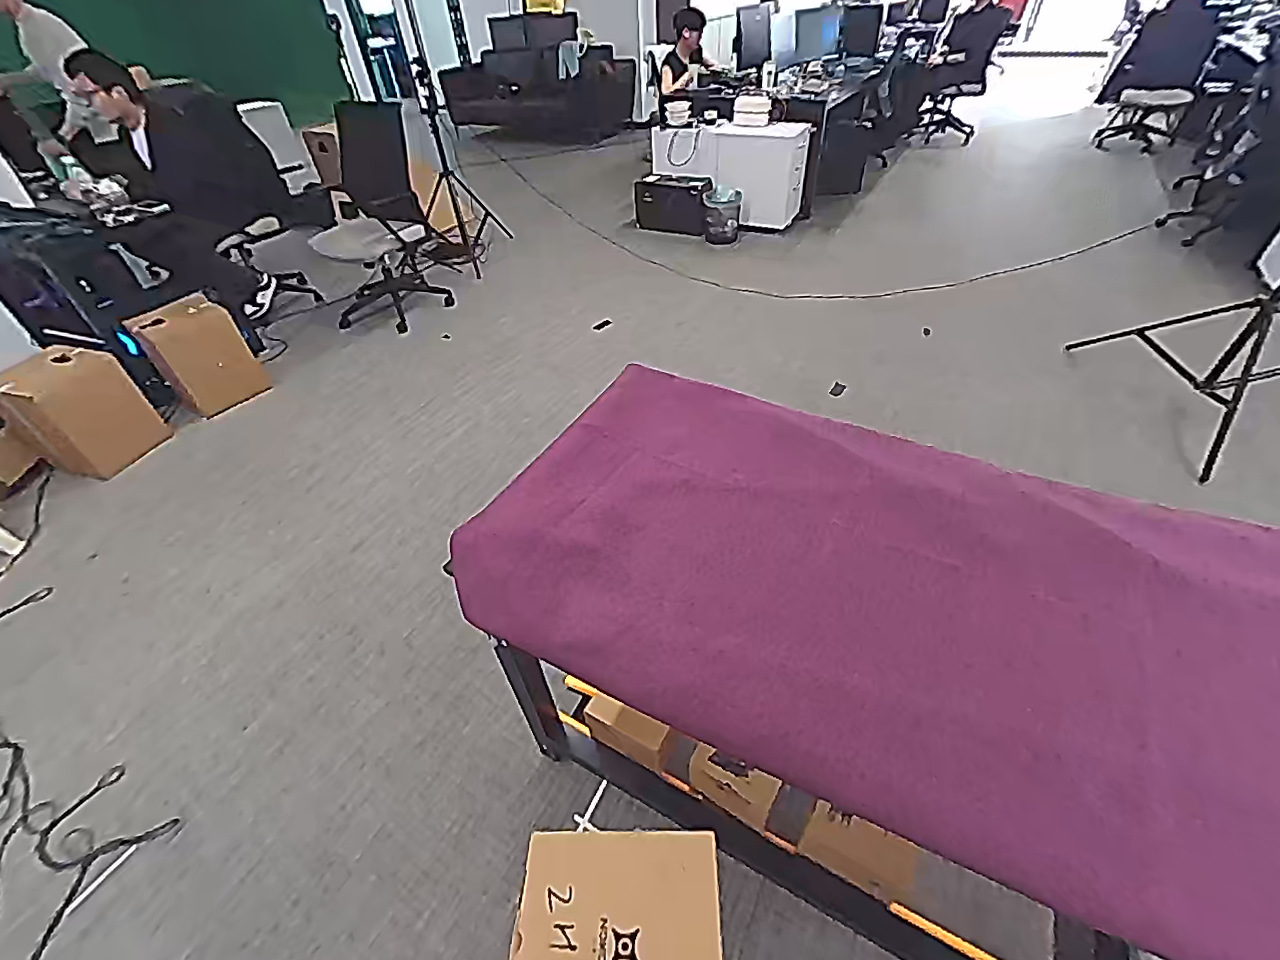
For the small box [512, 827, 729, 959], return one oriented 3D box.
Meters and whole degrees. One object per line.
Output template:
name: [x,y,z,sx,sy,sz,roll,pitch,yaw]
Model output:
small box: [-0.010,0.437,0.487,0.179,0.176,0.168,-3,38,5]
